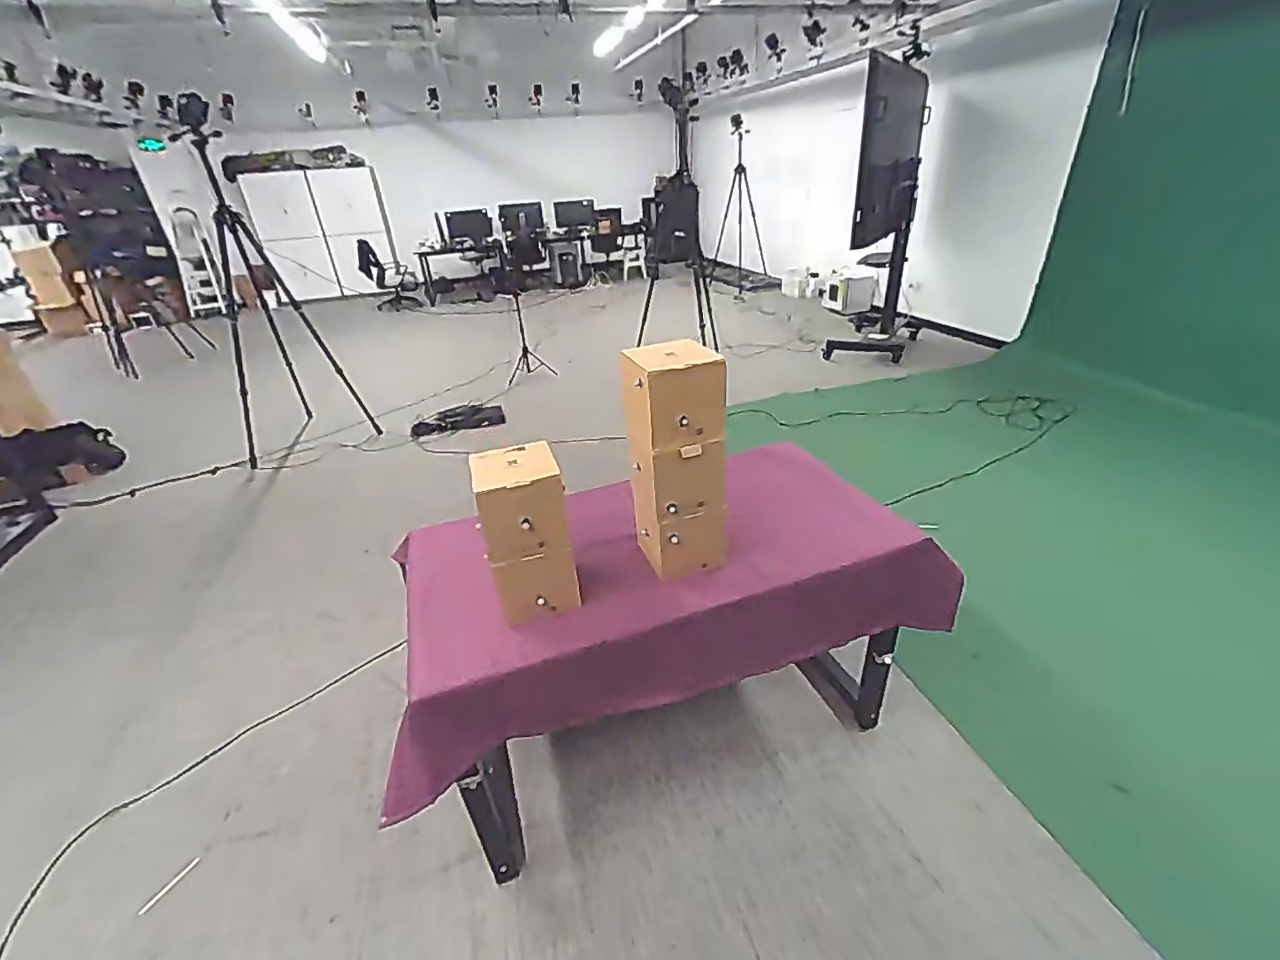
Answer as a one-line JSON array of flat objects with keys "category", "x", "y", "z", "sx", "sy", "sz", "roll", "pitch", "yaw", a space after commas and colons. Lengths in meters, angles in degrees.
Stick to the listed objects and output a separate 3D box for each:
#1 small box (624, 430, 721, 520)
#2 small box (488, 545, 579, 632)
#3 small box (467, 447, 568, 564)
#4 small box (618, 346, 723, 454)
[{"category": "small box", "x": 0.074, "y": -0.023, "z": 1.204, "sx": 0.168, "sy": 0.176, "sz": 0.179, "roll": -14, "pitch": 29, "yaw": -15}, {"category": "small box", "x": -0.238, "y": 0.201, "z": 1.185, "sx": 0.168, "sy": 0.176, "sz": 0.179, "roll": -13, "pitch": 30, "yaw": -14}, {"category": "small box", "x": -0.251, "y": 0.055, "z": 1.109, "sx": 0.168, "sy": 0.176, "sz": 0.179, "roll": -12, "pitch": 30, "yaw": -15}, {"category": "small box", "x": 0.060, "y": -0.171, "z": 1.134, "sx": 0.168, "sy": 0.176, "sz": 0.179, "roll": -14, "pitch": 30, "yaw": -16}]
